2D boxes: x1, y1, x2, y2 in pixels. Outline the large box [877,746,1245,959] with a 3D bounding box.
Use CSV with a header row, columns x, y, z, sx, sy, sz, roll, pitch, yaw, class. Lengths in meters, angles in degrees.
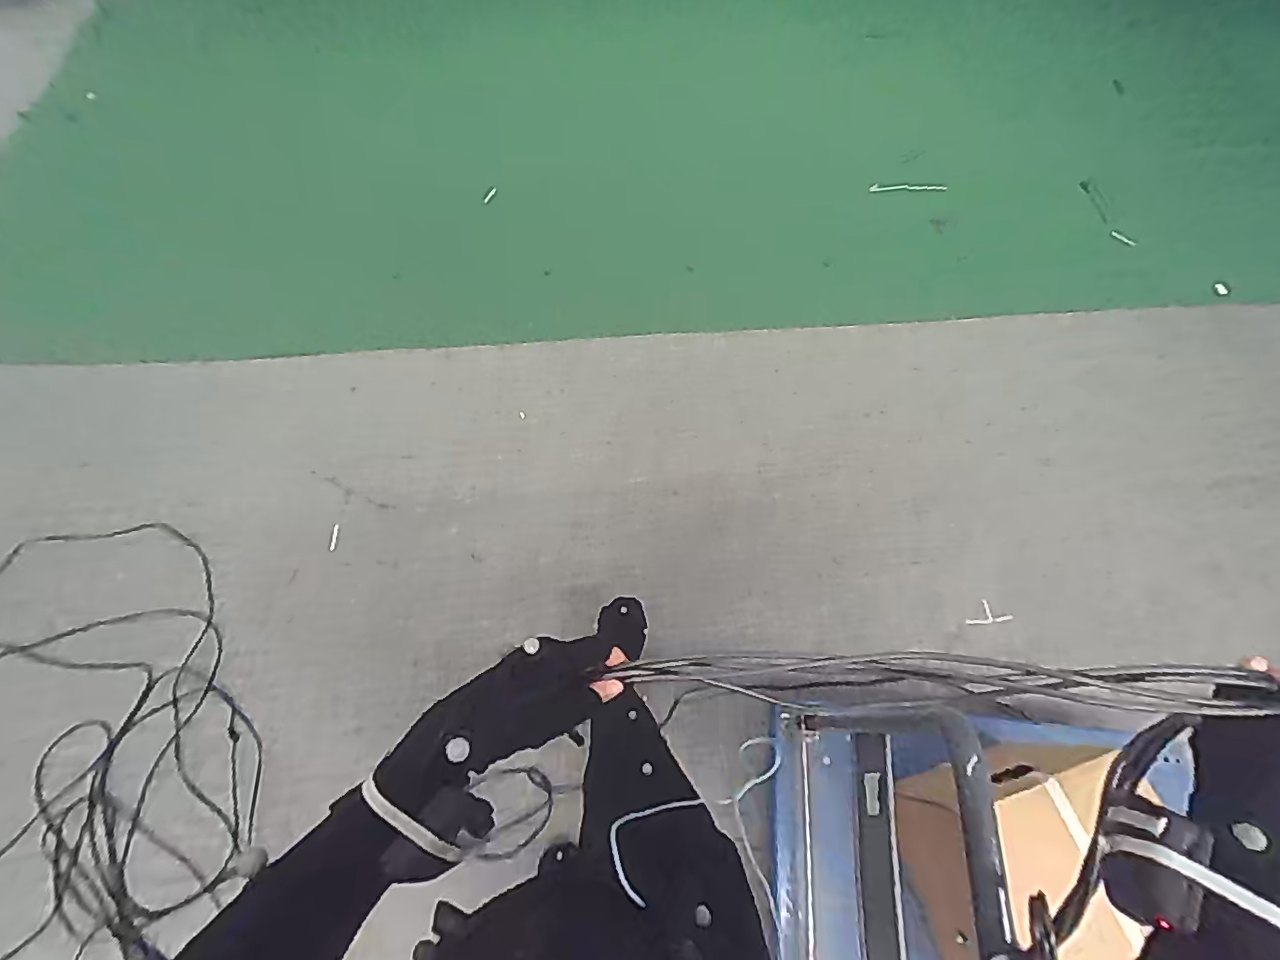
x,y,z,sx,sy,sz,roll,pitch,yaw,class
0.679,0.706,0.905,0.320,0.320,0.408,-14,65,-9,large box
